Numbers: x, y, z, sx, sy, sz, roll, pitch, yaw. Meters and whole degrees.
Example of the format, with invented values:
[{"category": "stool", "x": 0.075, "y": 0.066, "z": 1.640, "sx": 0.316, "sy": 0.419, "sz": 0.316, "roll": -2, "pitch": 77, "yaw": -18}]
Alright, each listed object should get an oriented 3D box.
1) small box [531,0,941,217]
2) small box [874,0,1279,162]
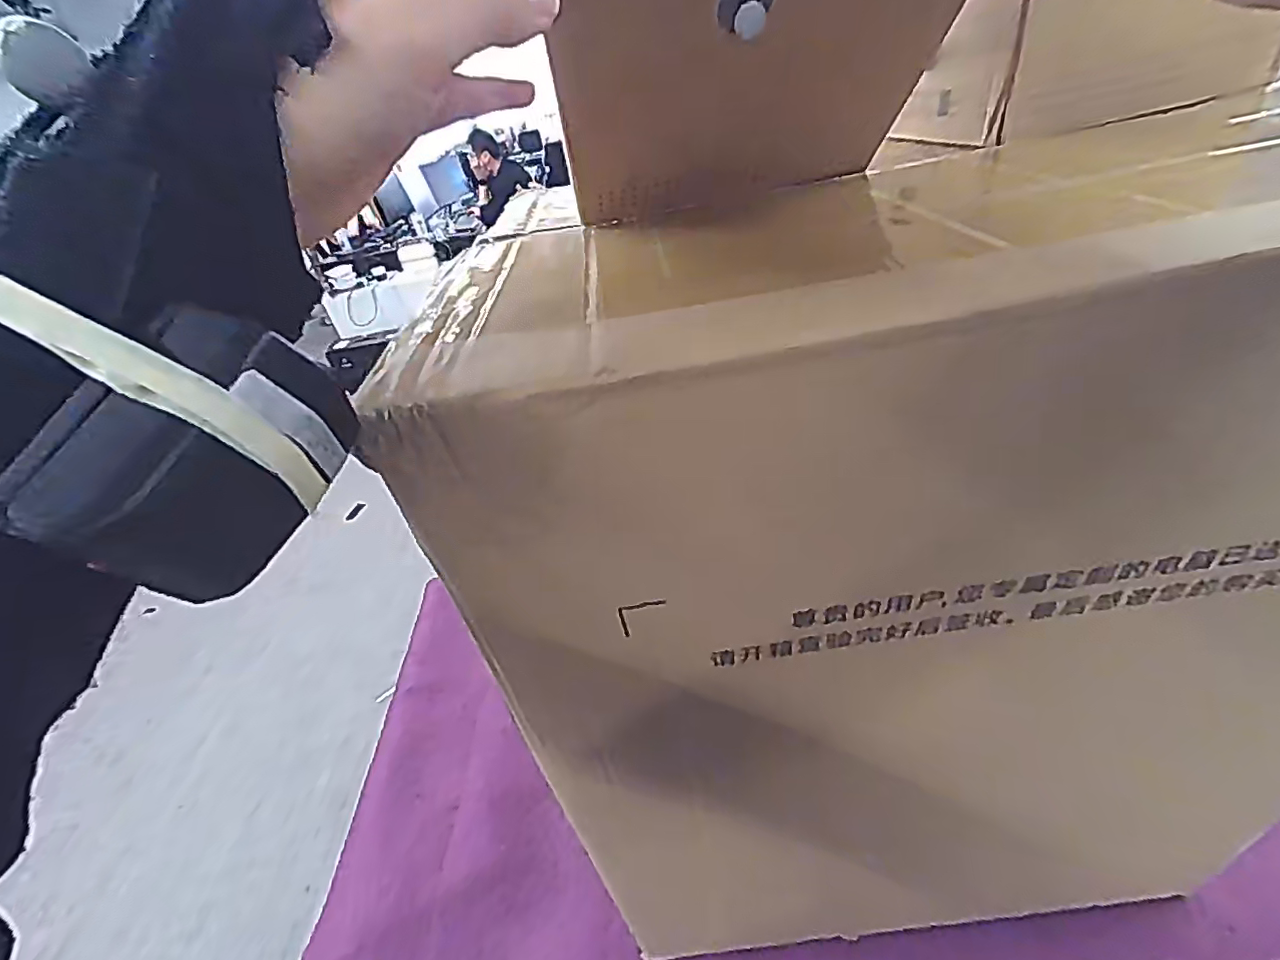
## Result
[{"category": "small box", "x": 0.033, "y": -0.252, "z": 0.252, "sx": 0.179, "sy": 0.168, "sz": 0.176, "roll": -11, "pitch": -6, "yaw": -1}, {"category": "small box", "x": 0.272, "y": -0.322, "z": 0.343, "sx": 0.179, "sy": 0.176, "sz": 0.168, "roll": -14, "pitch": 36, "yaw": 0}]
